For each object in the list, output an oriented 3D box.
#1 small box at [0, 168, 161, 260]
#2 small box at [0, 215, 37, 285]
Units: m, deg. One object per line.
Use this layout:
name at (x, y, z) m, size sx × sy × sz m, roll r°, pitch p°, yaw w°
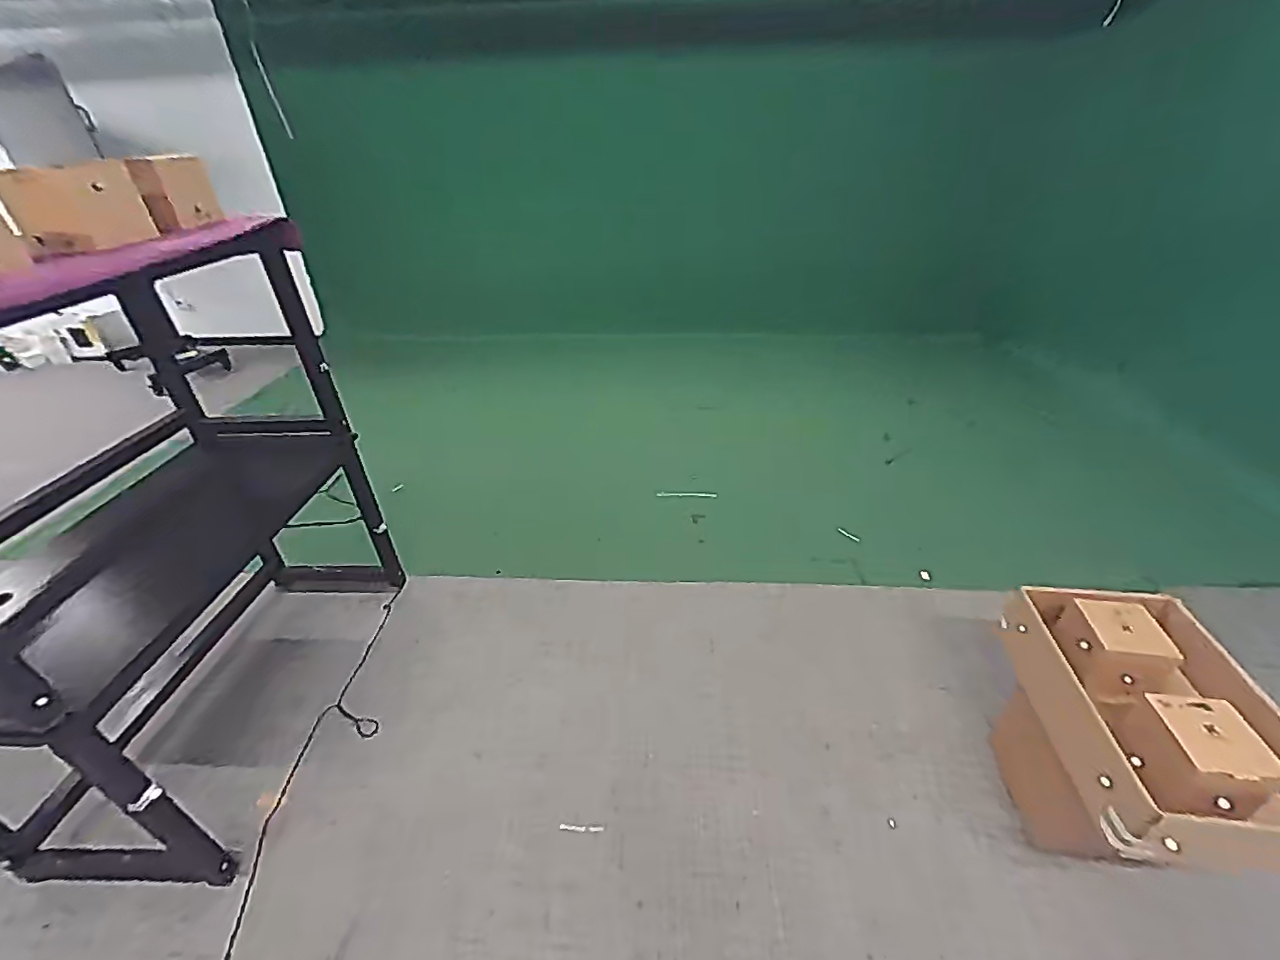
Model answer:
small box at (-1.270, -0.607, 1.239) m, size 0.168 × 0.176 × 0.179 m, roll -1°, pitch 33°, yaw 3°
small box at (-1.287, -0.435, 0.979) m, size 0.179 × 0.176 × 0.168 m, roll 3°, pitch 33°, yaw 9°
